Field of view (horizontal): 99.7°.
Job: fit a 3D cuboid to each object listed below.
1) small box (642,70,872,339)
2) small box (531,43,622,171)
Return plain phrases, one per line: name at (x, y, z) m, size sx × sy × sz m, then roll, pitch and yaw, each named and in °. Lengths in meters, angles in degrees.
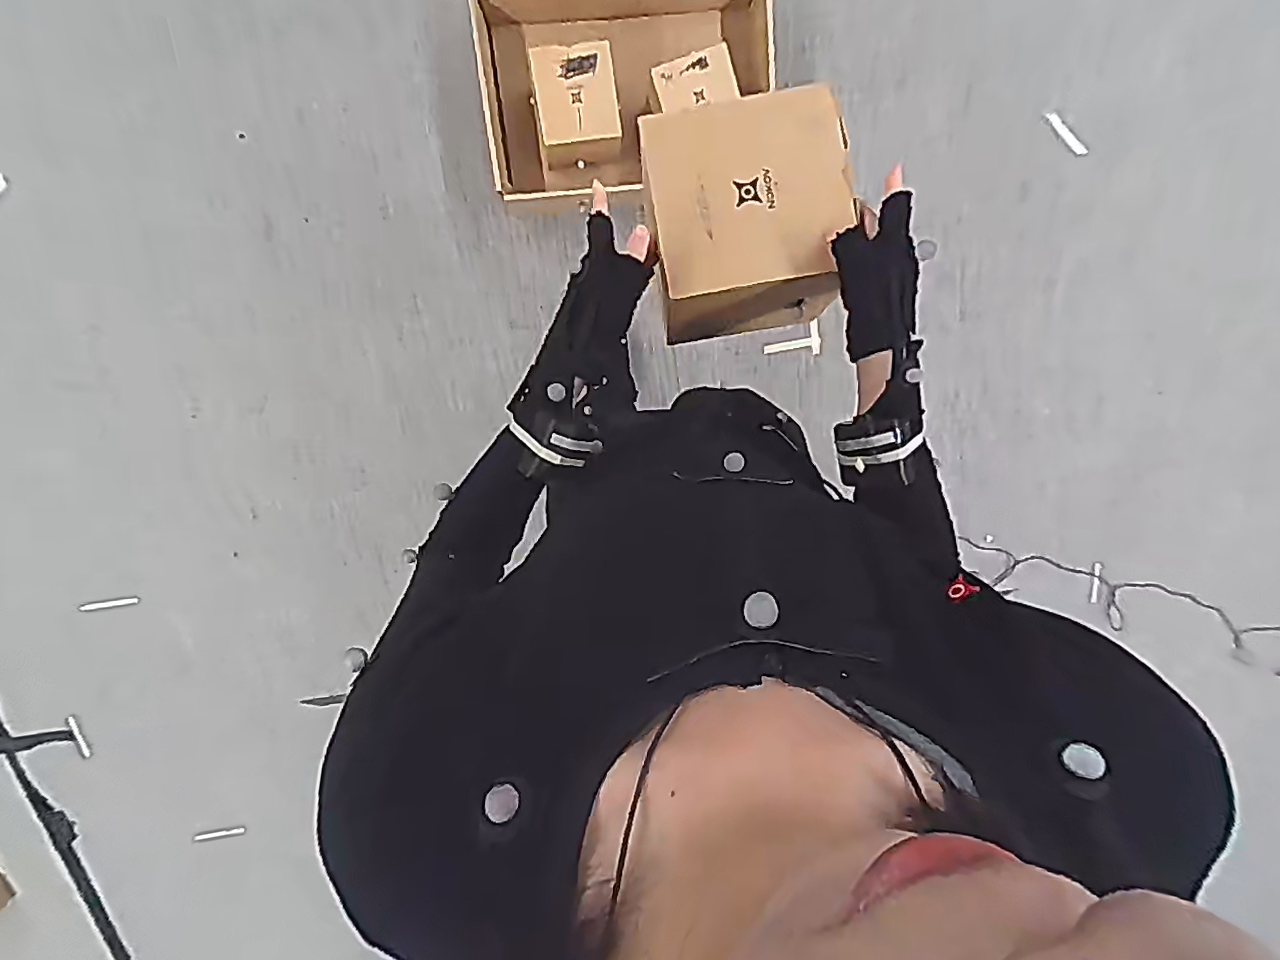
small box at (0.102, -0.253, 0.540) m, size 0.179 × 0.176 × 0.168 m, roll -10°, pitch 89°, yaw 3°
small box at (-0.136, -0.801, 1.176) m, size 0.168 × 0.176 × 0.179 m, roll -9°, pitch 105°, yaw -4°
